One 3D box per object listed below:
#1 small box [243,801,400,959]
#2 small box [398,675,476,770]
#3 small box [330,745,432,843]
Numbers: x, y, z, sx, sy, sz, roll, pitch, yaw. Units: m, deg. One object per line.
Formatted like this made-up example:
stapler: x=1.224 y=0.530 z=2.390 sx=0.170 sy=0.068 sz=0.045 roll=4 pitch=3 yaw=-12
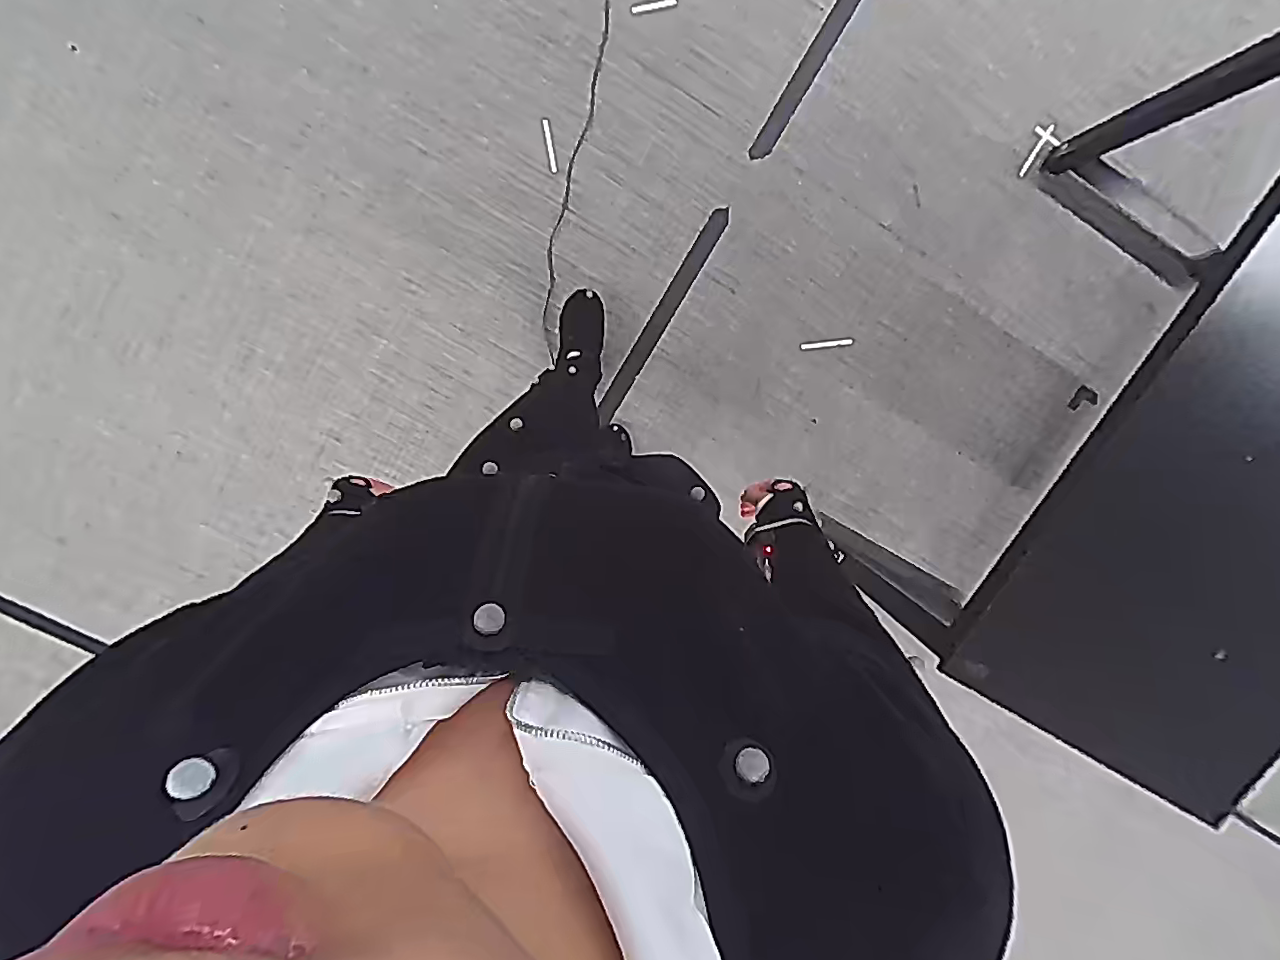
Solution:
small box: x=-0.585 y=0.759 z=1.022 sx=0.168 sy=0.176 sz=0.179 roll=32 pitch=99 yaw=-6
small box: x=-0.589 y=0.675 z=1.508 sx=0.179 sy=0.176 sz=0.168 roll=29 pitch=99 yaw=-8
small box: x=-0.584 y=0.730 z=1.185 sx=0.168 sy=0.176 sz=0.179 roll=28 pitch=98 yaw=-6
